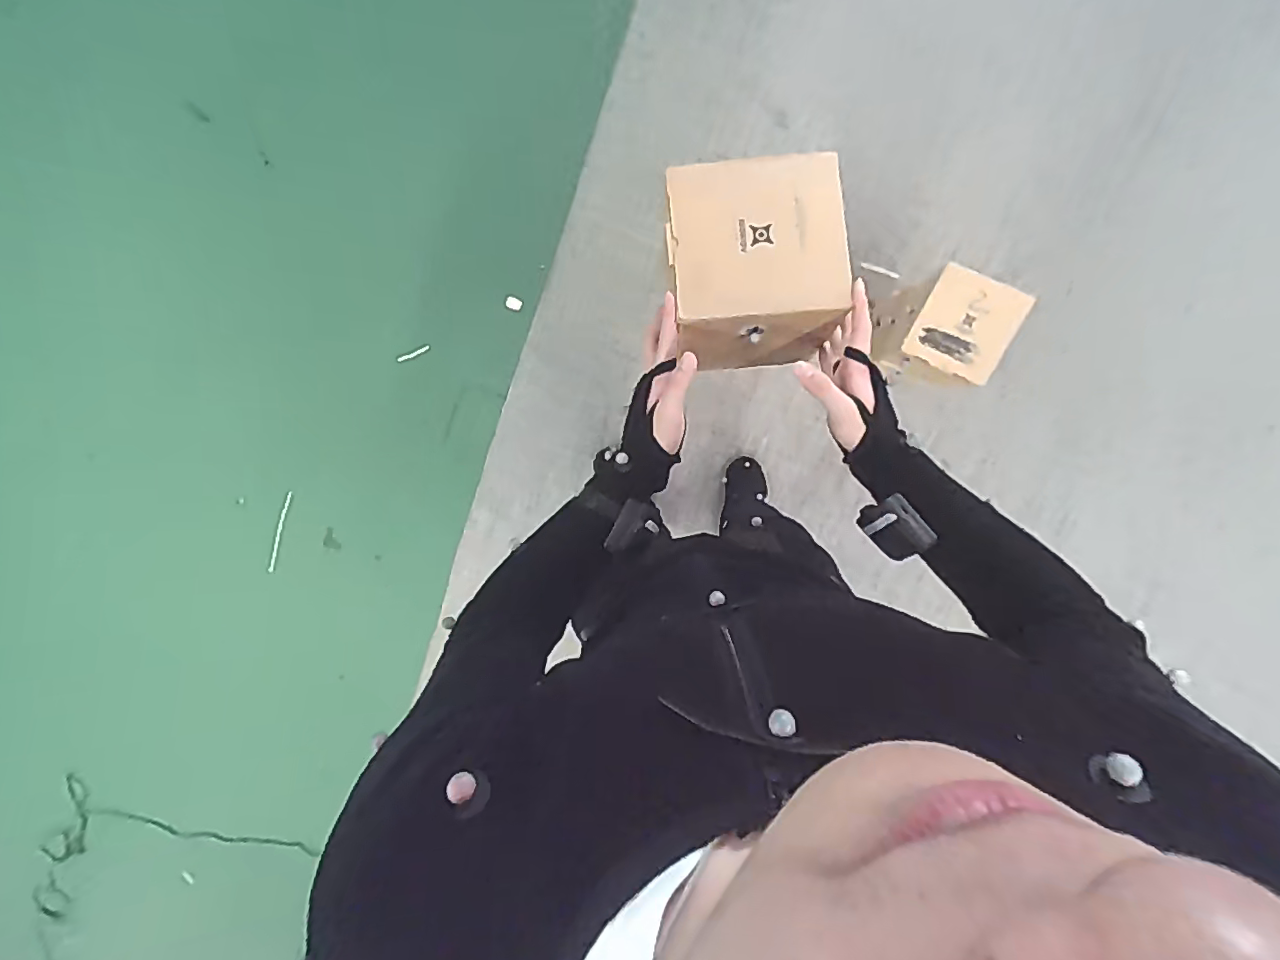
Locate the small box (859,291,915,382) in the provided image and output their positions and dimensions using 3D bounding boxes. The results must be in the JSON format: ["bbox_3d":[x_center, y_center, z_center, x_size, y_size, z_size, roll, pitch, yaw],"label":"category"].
[{"bbox_3d":[0.679,-0.353,1.365,0.179,0.176,0.168,24,102,6],"label":"small box"}]

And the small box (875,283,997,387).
[{"bbox_3d":[0.647,-0.315,1.211,0.168,0.176,0.179,20,101,8],"label":"small box"}]

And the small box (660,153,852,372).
[{"bbox_3d":[0.117,-0.229,0.611,0.179,0.176,0.168,-4,83,2],"label":"small box"}]
